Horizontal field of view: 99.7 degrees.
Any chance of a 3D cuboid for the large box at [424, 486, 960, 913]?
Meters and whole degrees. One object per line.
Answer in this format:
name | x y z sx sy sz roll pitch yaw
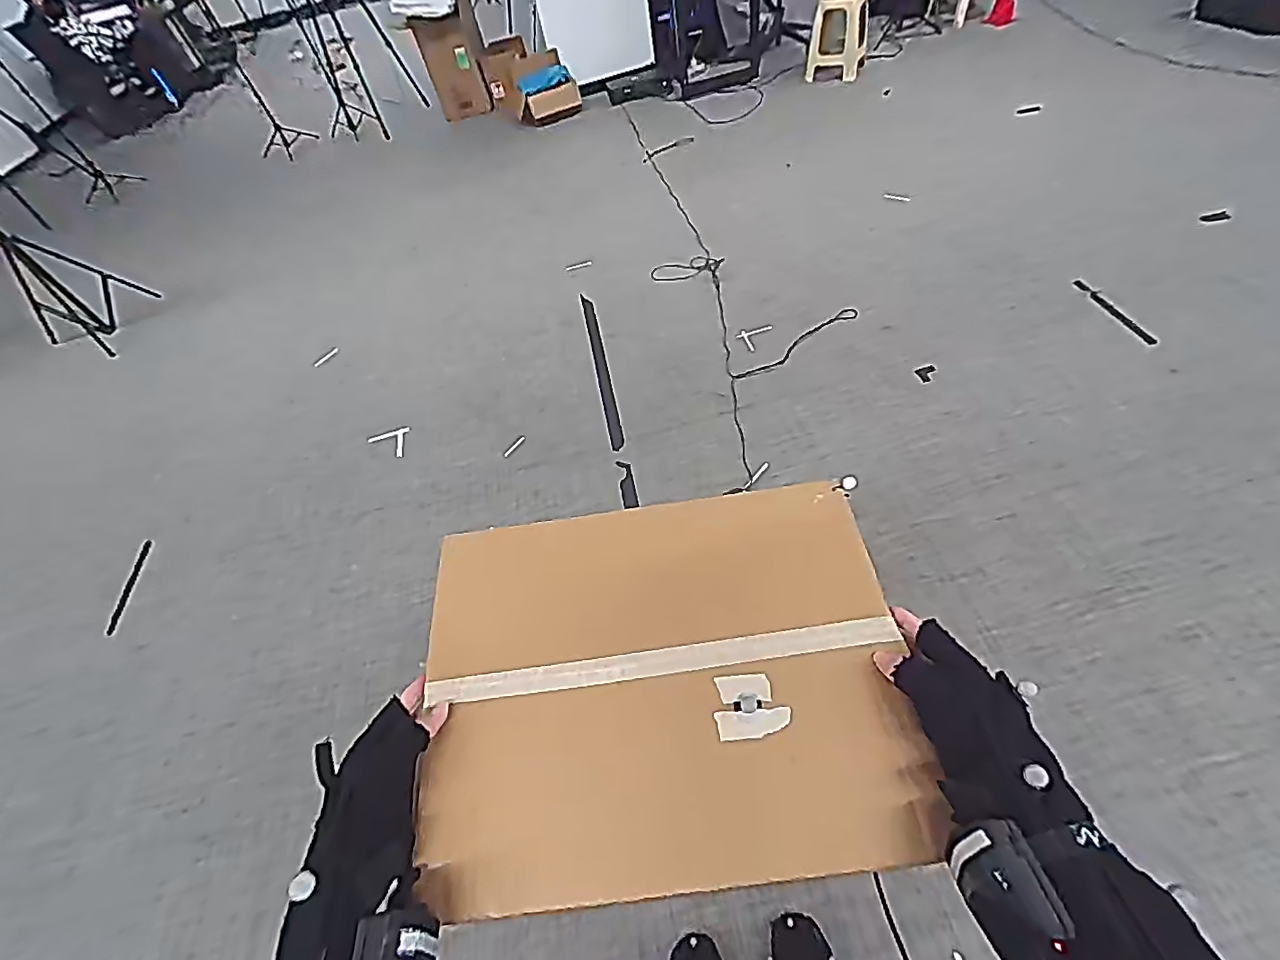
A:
large box | 0.032 0.243 0.595 0.408 0.320 0.320 -8 56 1
